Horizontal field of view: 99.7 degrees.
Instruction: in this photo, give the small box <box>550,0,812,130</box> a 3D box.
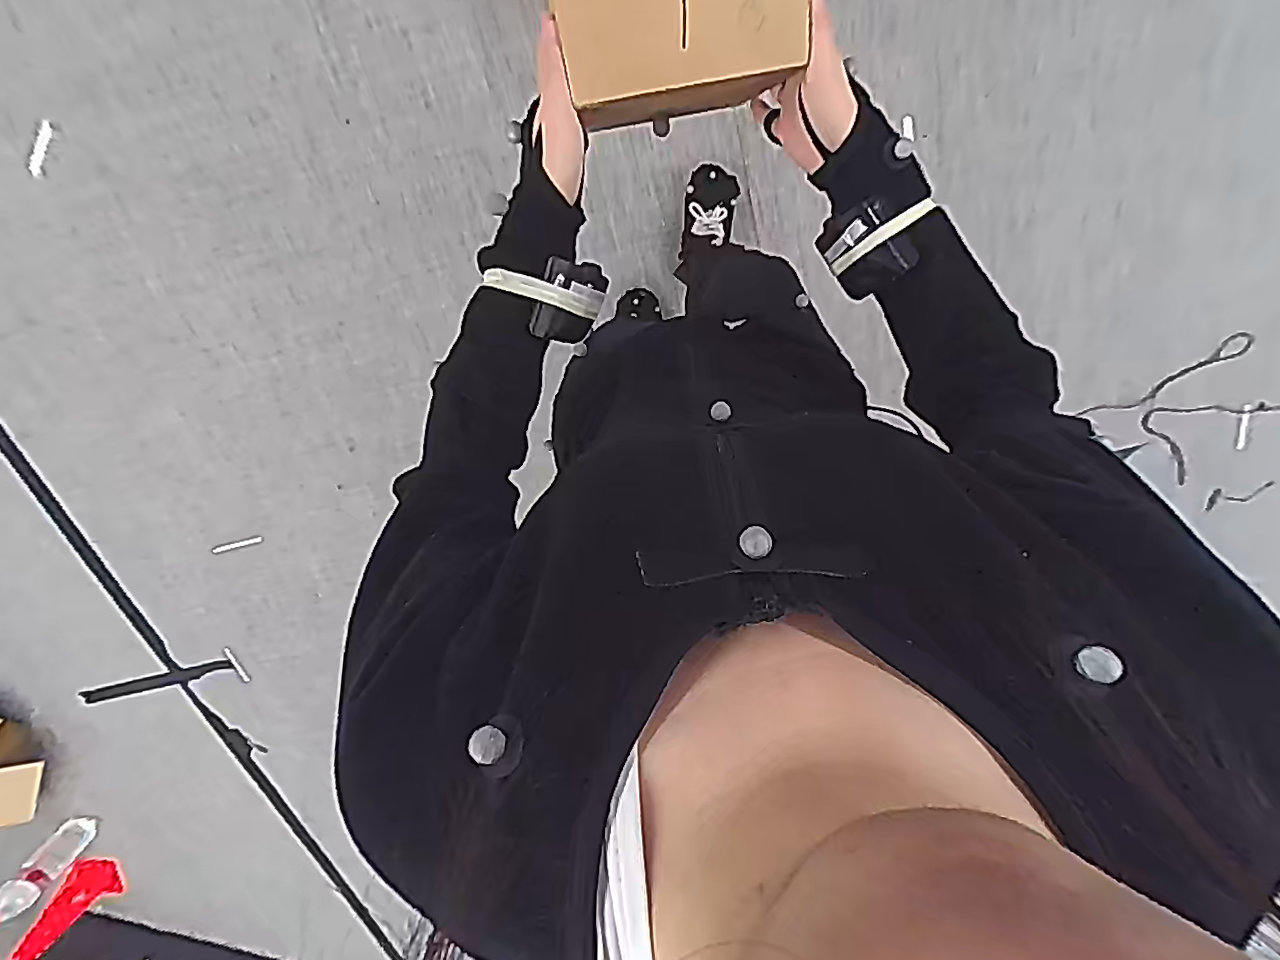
[{"bbox_3d":[0.015,-0.380,0.395,0.168,0.176,0.179,-11,118,-1],"label":"small box"}]
